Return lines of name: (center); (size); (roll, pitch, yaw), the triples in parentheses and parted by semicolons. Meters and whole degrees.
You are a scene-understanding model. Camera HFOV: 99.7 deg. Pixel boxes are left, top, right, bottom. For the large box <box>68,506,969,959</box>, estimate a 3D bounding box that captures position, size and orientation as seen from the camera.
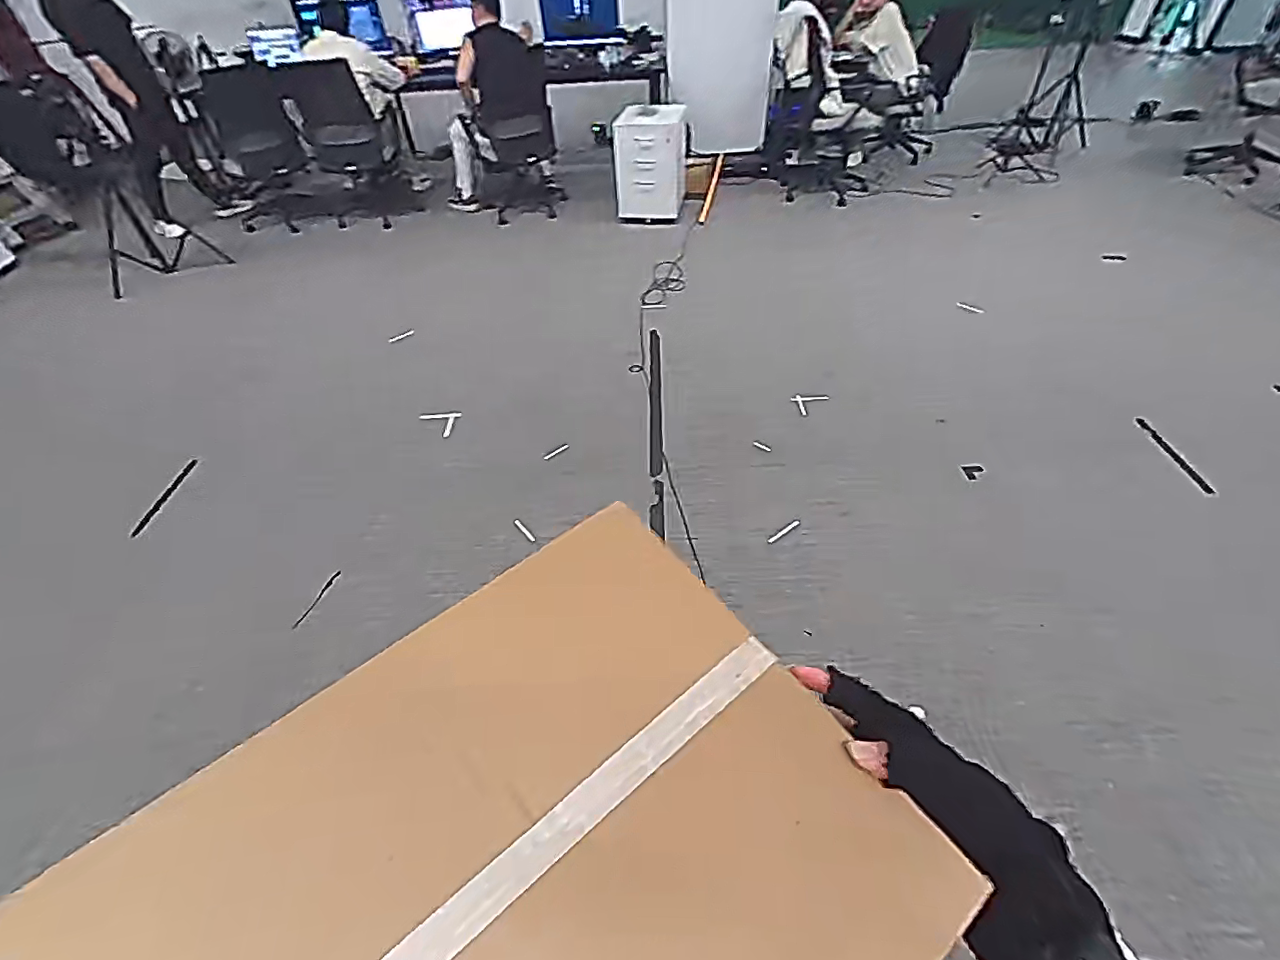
large box: (-0.064, 0.303, 0.411); (0.408, 0.320, 0.320); (-32, 59, -21)
